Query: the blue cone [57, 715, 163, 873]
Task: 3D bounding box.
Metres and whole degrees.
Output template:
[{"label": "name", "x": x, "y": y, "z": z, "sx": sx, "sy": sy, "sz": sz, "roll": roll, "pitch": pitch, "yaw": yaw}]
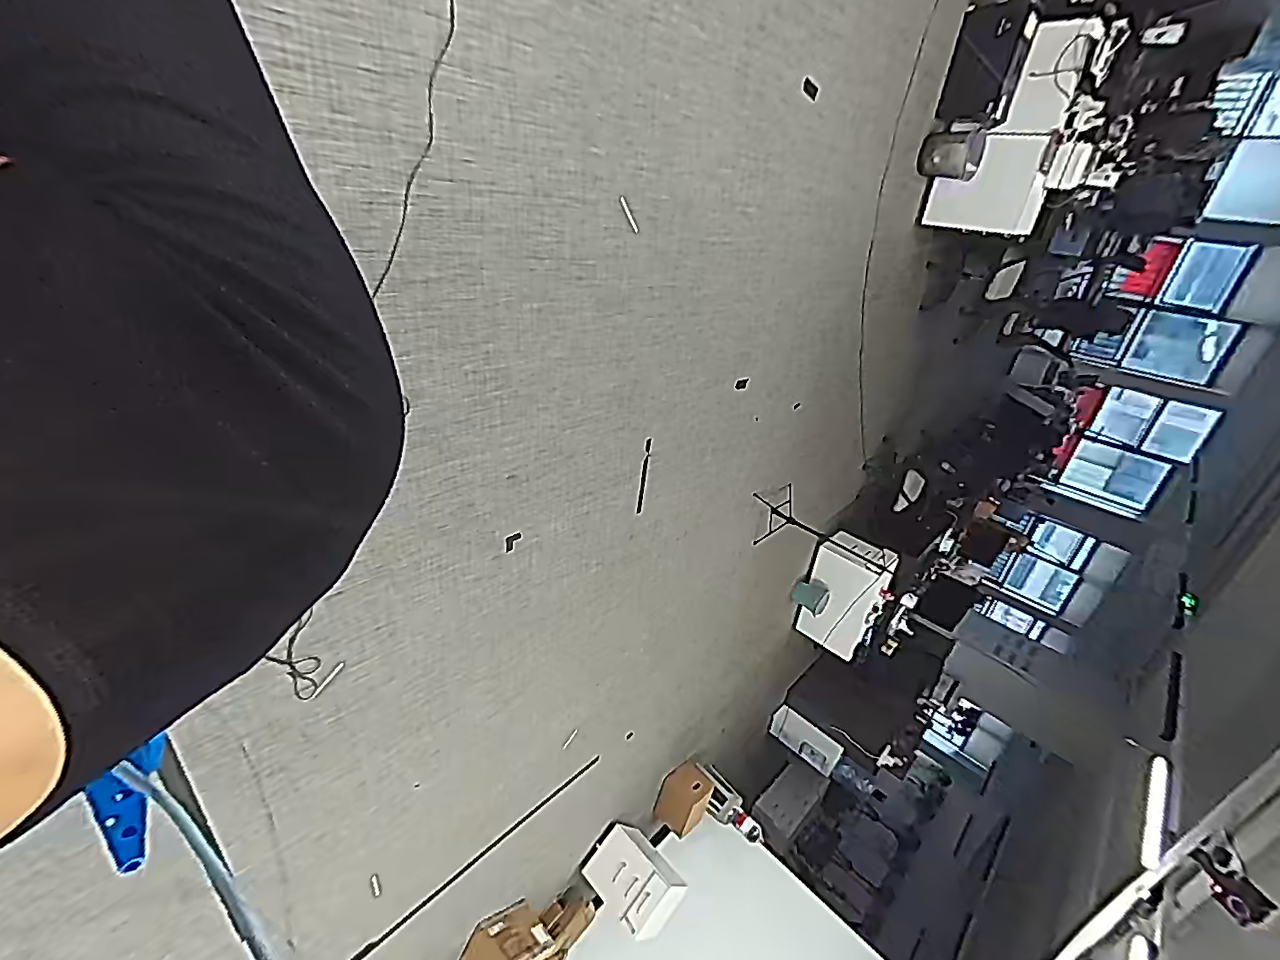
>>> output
[{"label": "blue cone", "x": -1.249, "y": 0.766, "z": 1.297, "sx": 0.193, "sy": 0.380, "sz": 0.192, "roll": 7, "pitch": 109, "yaw": -51}]
